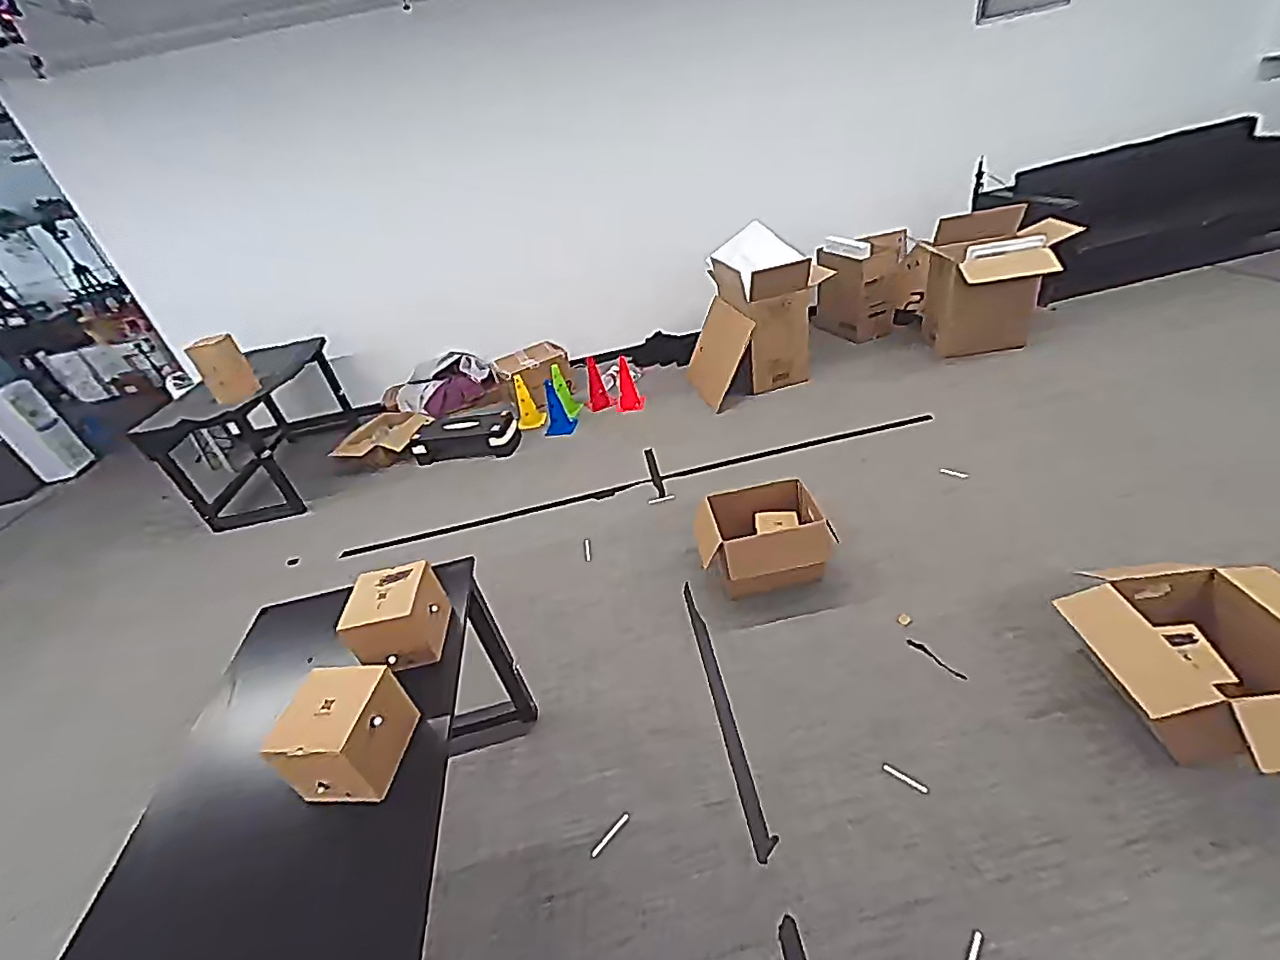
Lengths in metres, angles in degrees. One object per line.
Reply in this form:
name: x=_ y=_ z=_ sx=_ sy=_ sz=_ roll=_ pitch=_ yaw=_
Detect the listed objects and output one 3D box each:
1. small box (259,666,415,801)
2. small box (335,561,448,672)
small box: x=-0.559 y=0.482 z=1.032 sx=0.168 sy=0.176 sz=0.179 roll=-7 pitch=35 yaw=10
small box: x=-0.565 y=0.321 z=1.262 sx=0.168 sy=0.176 sz=0.179 roll=-13 pitch=35 yaw=0
